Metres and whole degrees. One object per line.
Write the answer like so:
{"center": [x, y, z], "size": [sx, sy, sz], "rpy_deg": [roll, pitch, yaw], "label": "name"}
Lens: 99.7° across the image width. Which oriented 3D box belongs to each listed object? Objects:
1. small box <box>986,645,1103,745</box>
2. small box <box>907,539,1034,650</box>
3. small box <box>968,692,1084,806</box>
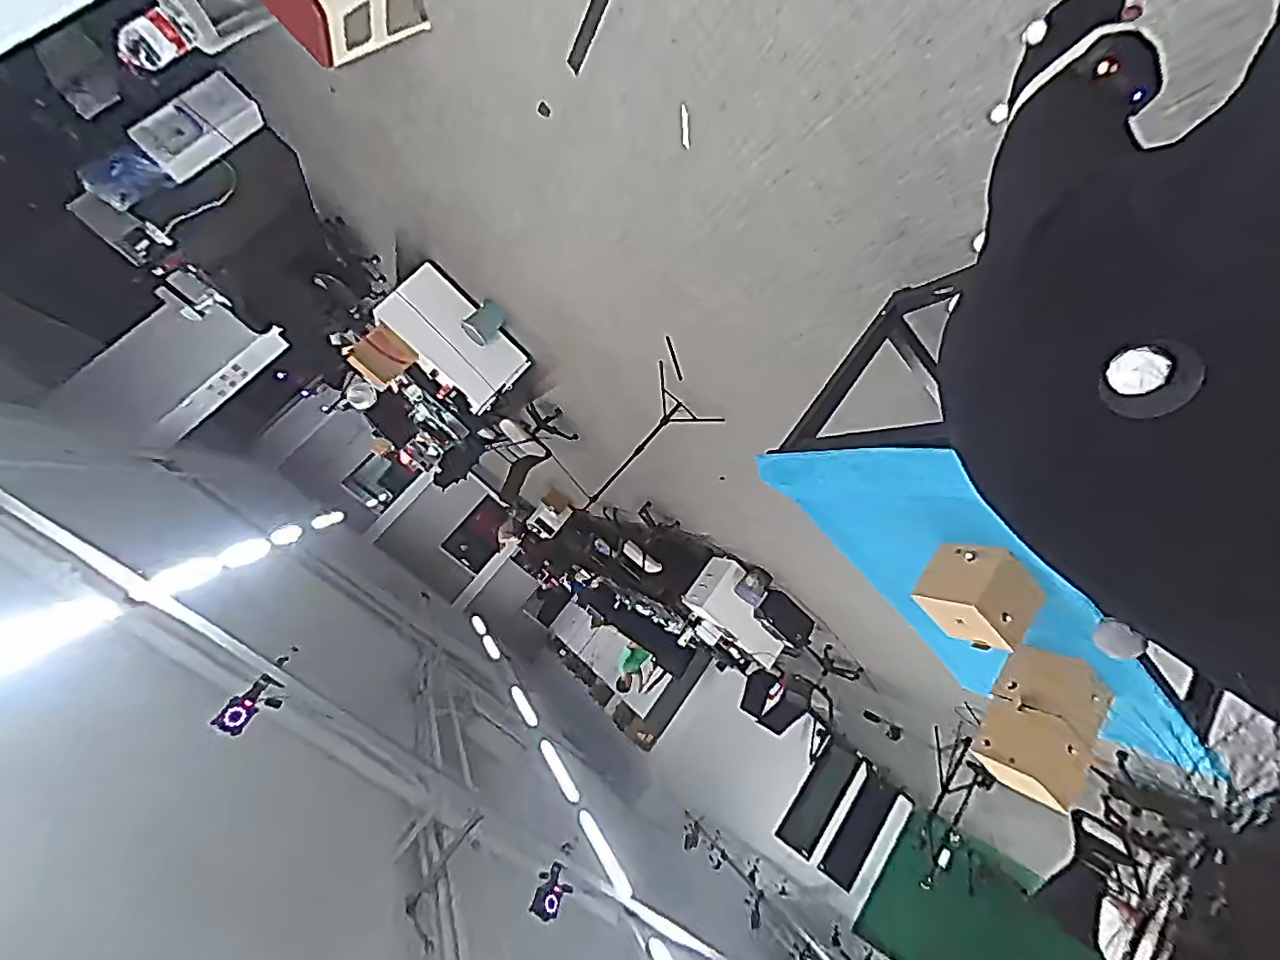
{"center": [1.078, 0.565, 1.440], "size": [0.168, 0.176, 0.179], "rpy_deg": [44, 162, -19], "label": "small box"}
{"center": [0.784, 0.264, 1.280], "size": [0.179, 0.176, 0.168], "rpy_deg": [44, 163, -16], "label": "small box"}
{"center": [0.978, 0.686, 1.382], "size": [0.179, 0.176, 0.168], "rpy_deg": [45, 163, -17], "label": "small box"}
